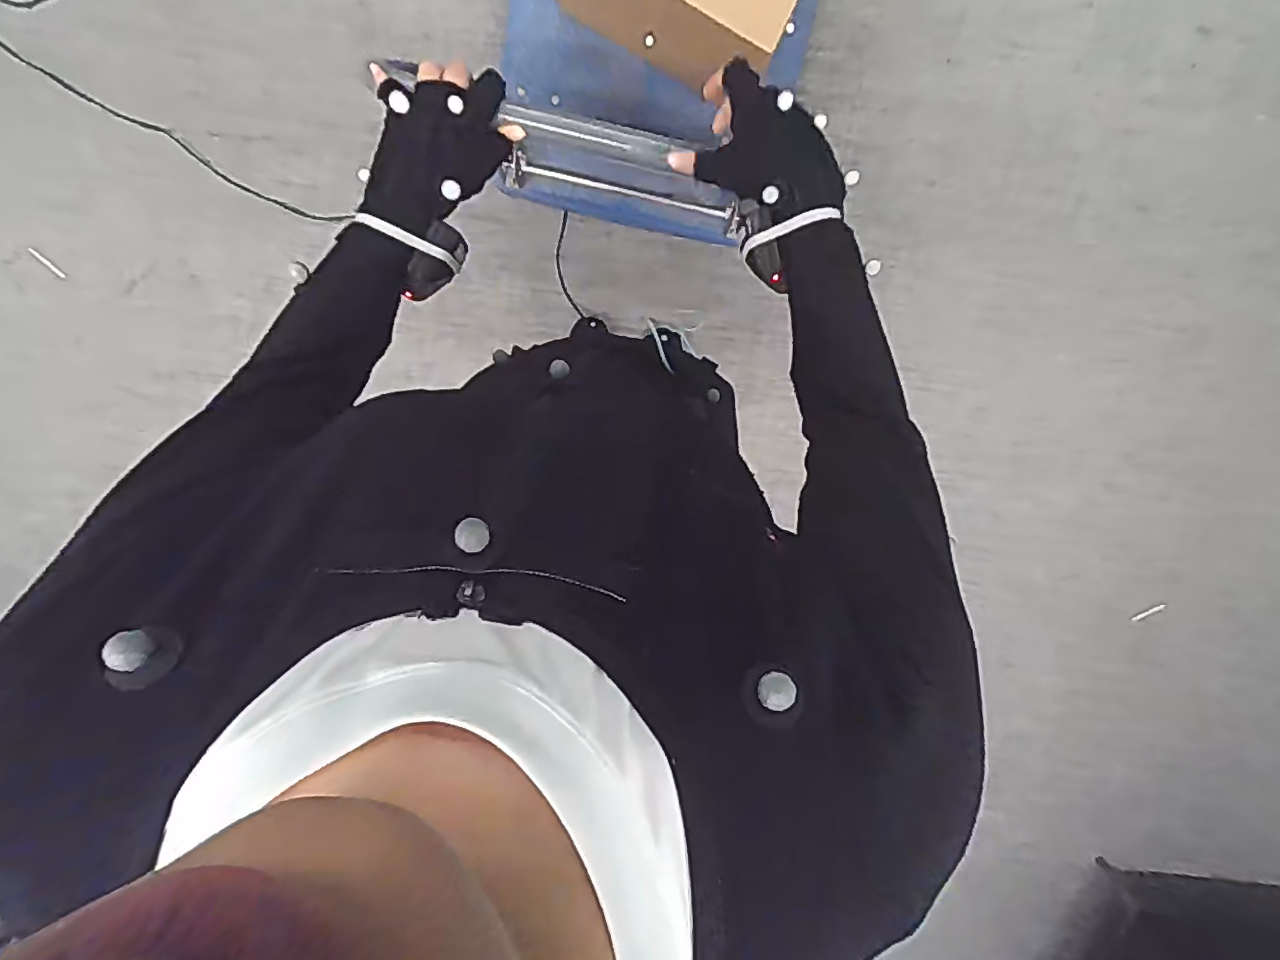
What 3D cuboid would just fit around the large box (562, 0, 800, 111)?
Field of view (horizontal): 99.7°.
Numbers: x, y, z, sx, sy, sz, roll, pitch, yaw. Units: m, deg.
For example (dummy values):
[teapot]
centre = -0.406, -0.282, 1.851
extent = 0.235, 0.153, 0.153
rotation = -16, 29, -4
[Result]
[large box]
centre = 0.092, -0.897, 0.881
extent = 0.408, 0.320, 0.320
rotation = 26, 108, -8
